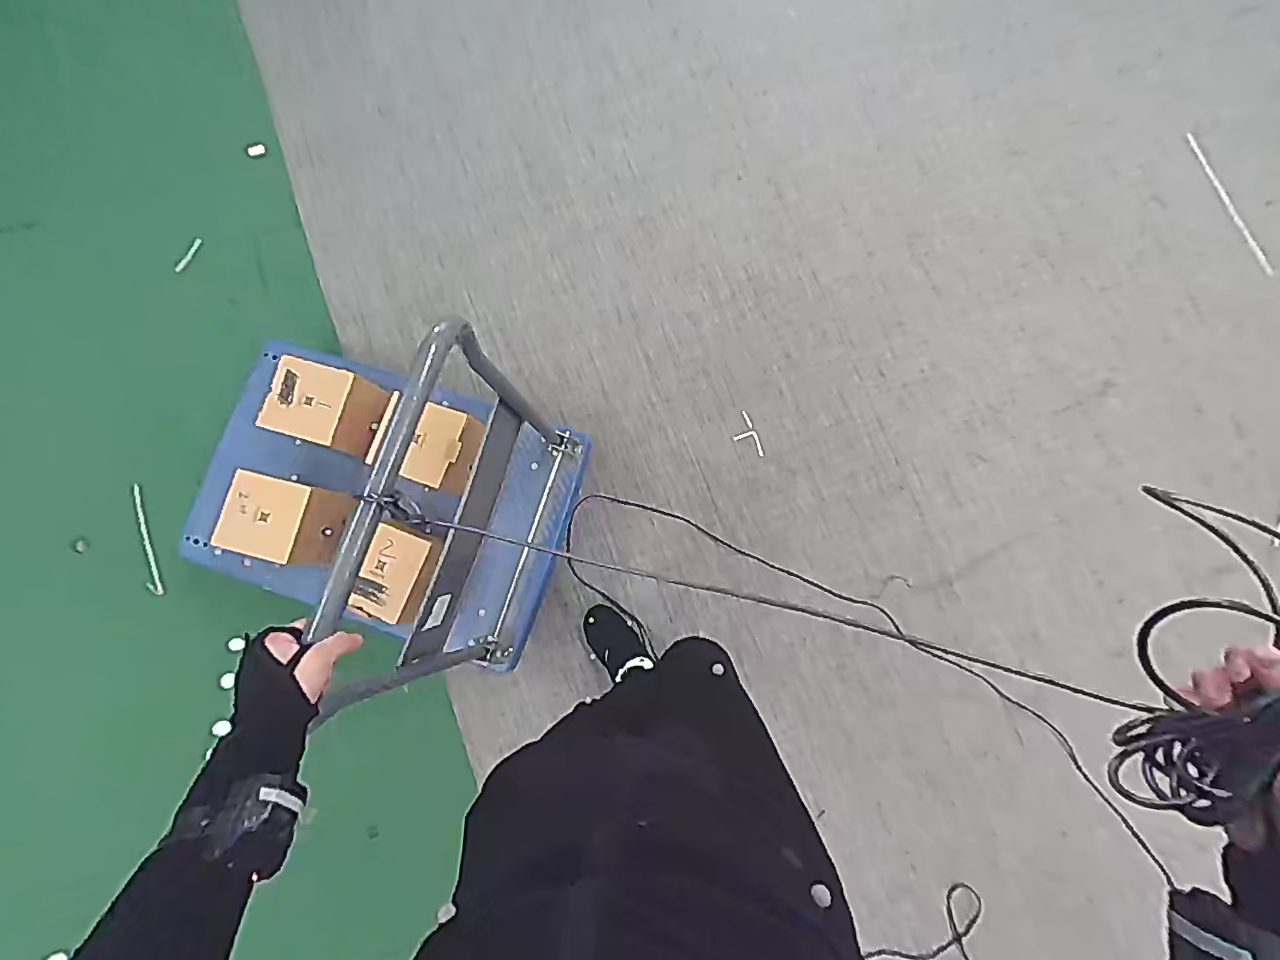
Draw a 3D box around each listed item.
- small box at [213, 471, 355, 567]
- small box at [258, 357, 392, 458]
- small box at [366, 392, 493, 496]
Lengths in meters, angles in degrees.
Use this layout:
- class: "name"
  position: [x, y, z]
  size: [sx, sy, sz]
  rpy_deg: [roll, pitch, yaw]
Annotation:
- class: "small box"
  position: [-0.771, 0.090, 1.193]
  size: [0.179, 0.176, 0.168]
  rpy_deg: [13, 81, 6]
- class: "small box"
  position: [-0.702, -0.156, 1.227]
  size: [0.179, 0.176, 0.168]
  rpy_deg: [15, 83, 5]
- class: "small box"
  position: [-0.455, -0.072, 1.197]
  size: [0.179, 0.176, 0.168]
  rpy_deg: [18, 83, 6]
